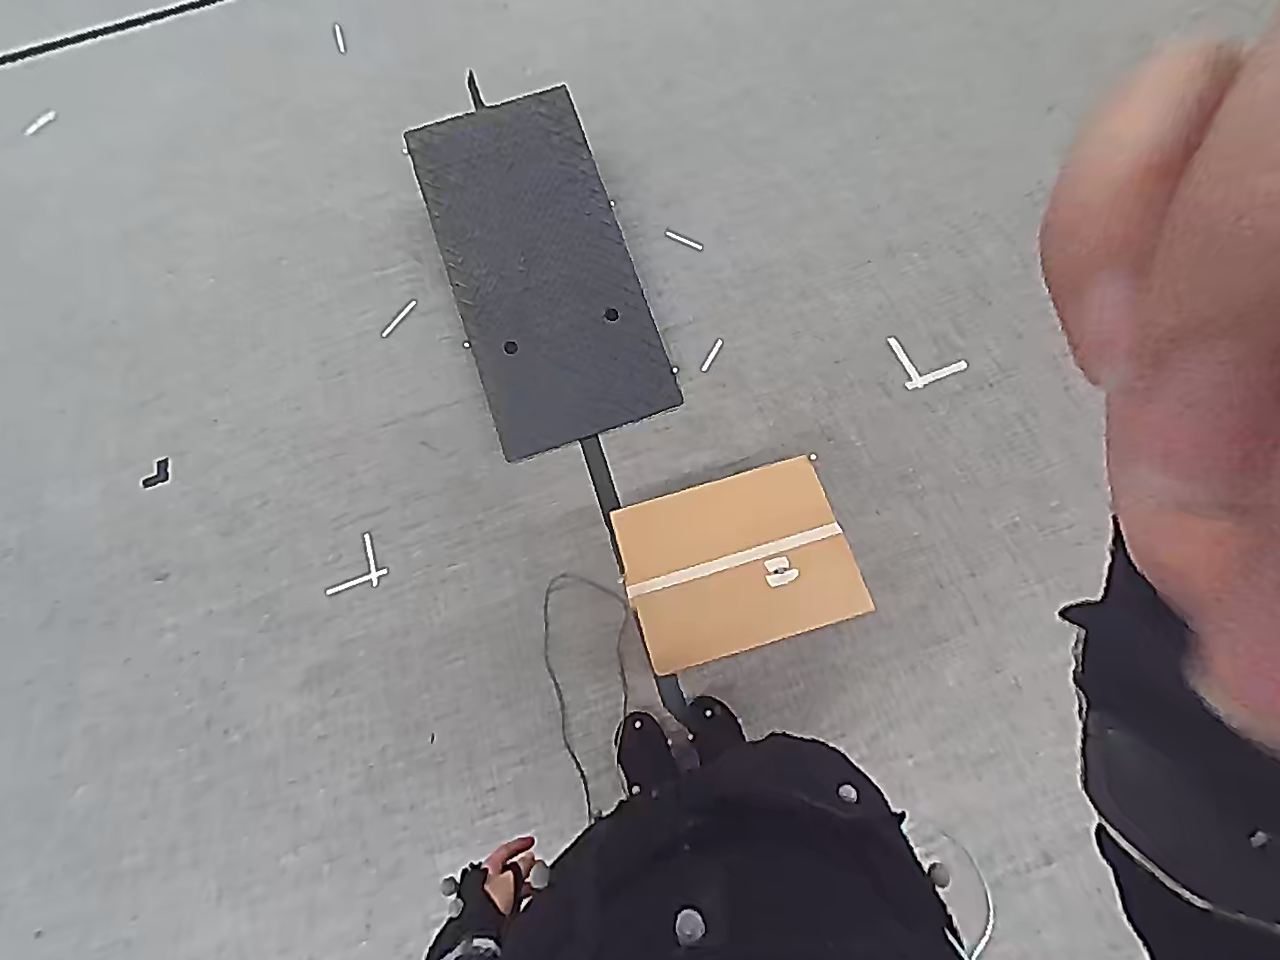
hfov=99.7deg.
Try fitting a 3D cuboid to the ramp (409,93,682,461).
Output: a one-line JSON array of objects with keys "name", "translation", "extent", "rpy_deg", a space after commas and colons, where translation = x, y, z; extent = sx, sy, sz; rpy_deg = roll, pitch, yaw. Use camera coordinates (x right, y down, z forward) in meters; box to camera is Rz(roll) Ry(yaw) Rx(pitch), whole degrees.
[{"name": "ramp", "translation": [-0.271, -0.587, 1.496], "extent": [0.509, 0.206, 0.991], "rpy_deg": [-20, 72, -4]}]

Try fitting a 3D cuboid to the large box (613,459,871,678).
[{"name": "large box", "translation": [0.186, 0.202, 1.135], "extent": [0.408, 0.320, 0.320], "rpy_deg": [-16, 71, -3]}]
